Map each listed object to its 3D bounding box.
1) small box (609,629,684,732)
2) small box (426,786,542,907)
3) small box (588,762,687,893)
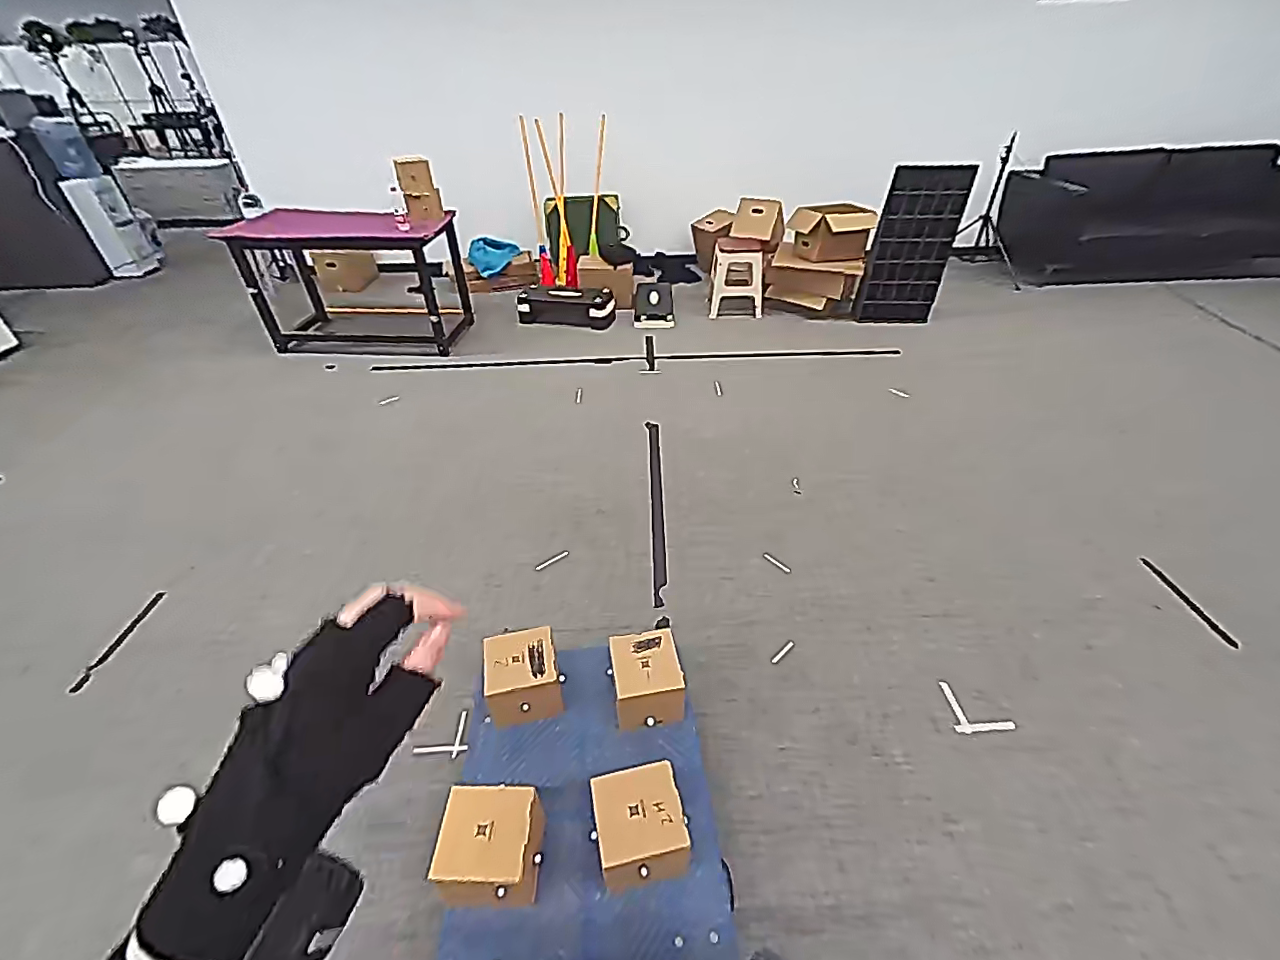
[{"bbox_3d":[0.012,0.514,1.389,0.168,0.176,0.179,-7,40,-7],"label":"small box"},{"bbox_3d":[-0.308,0.750,1.105,0.179,0.176,0.168,1,38,0],"label":"small box"},{"bbox_3d":[-0.005,0.724,1.125,0.179,0.176,0.168,-9,39,-9],"label":"small box"}]
